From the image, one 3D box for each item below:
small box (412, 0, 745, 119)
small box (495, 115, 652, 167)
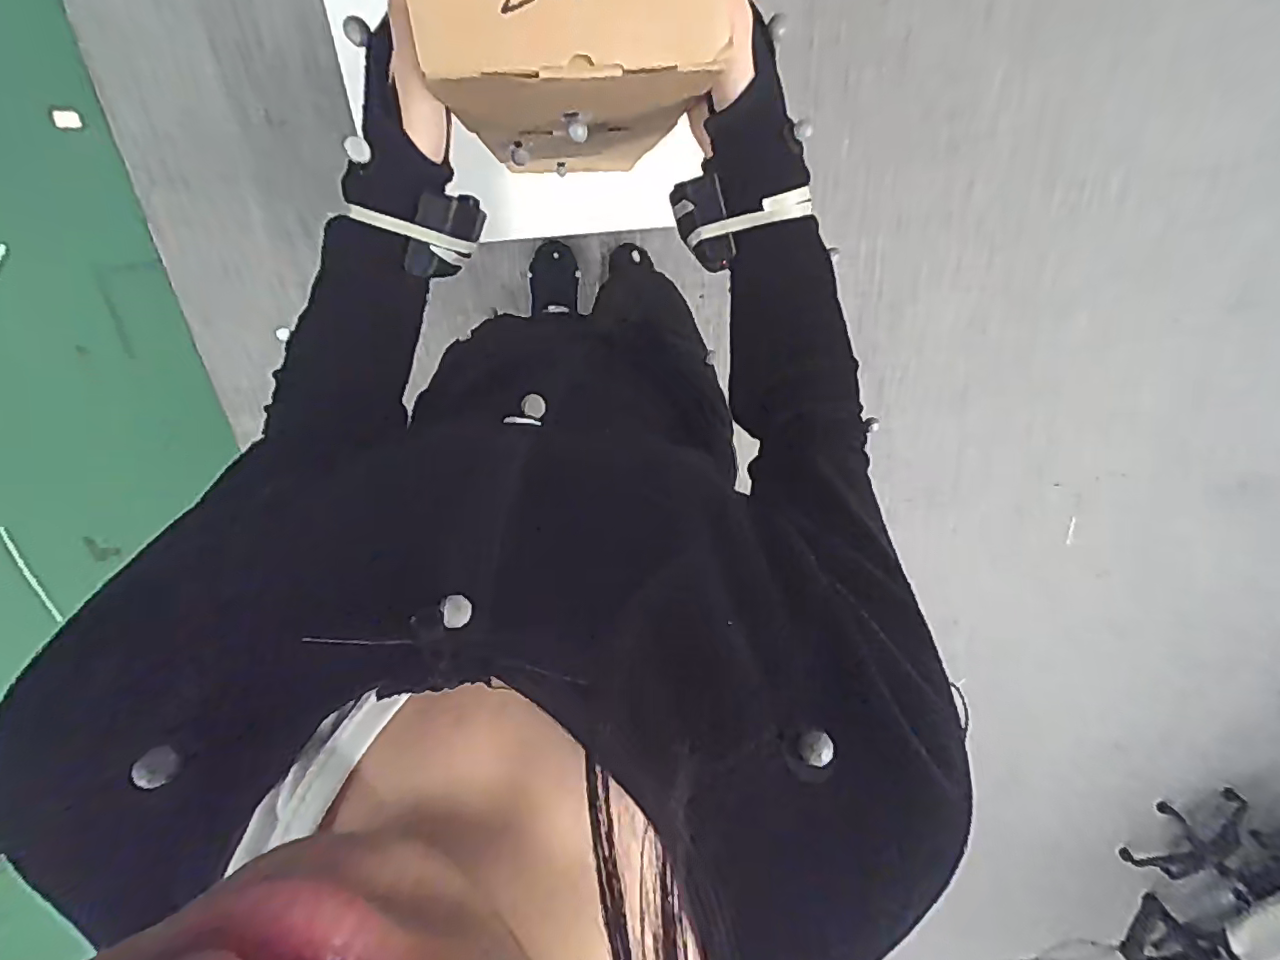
[{"bbox_3d":[-0.042,-0.328,0.308,0.168,0.176,0.179,-6,114,-6],"label":"small box"},{"bbox_3d":[-0.081,-0.464,0.606,0.168,0.176,0.179,-5,114,-6],"label":"small box"}]
